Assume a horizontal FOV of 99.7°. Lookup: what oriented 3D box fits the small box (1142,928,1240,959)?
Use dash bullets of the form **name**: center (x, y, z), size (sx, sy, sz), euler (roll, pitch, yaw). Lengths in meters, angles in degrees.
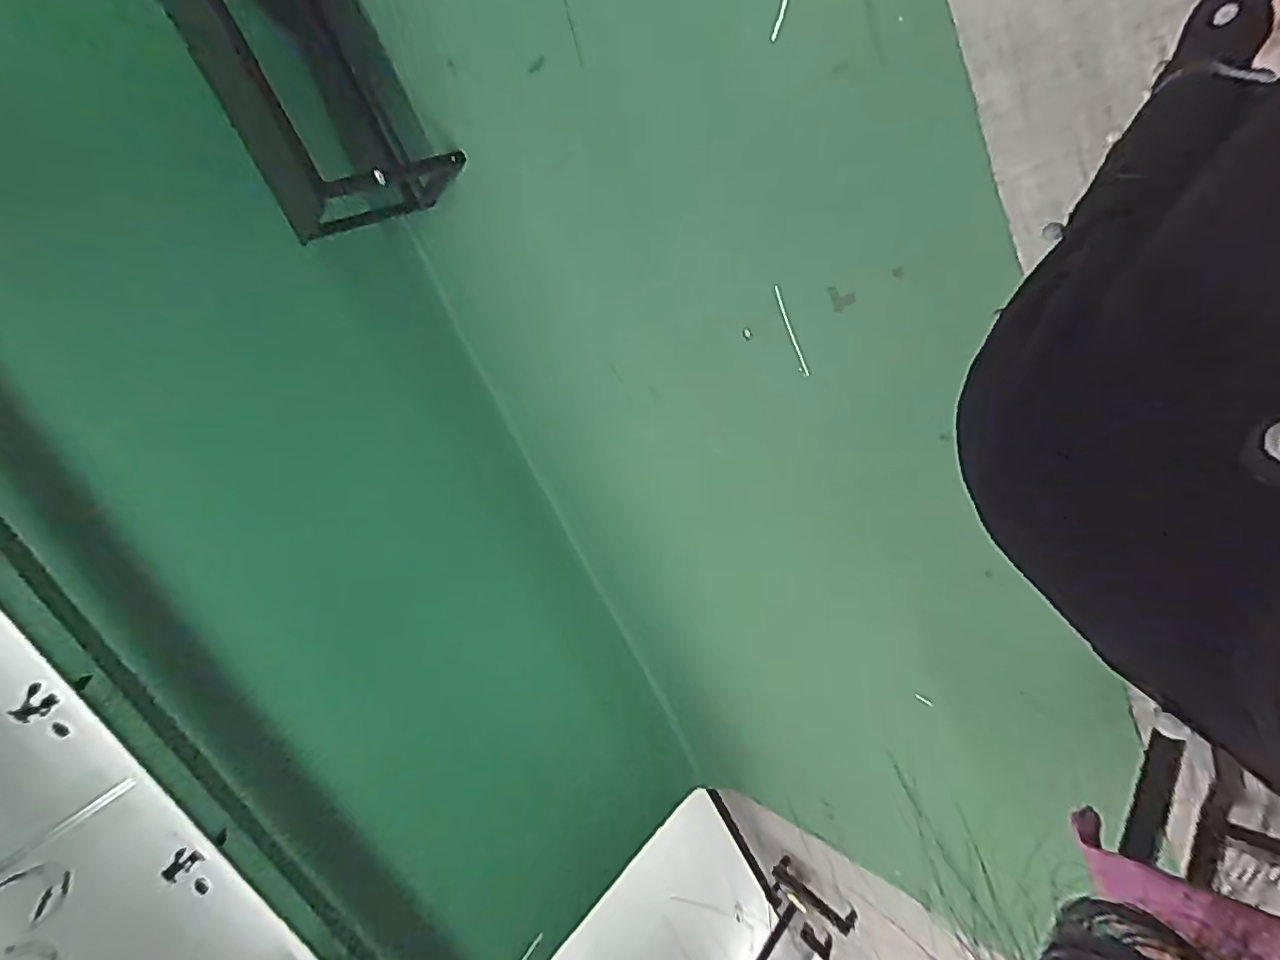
- **small box**: center (0.971, 0.913, 0.906), size (0.179, 0.176, 0.168), euler (-9, 112, 56)
